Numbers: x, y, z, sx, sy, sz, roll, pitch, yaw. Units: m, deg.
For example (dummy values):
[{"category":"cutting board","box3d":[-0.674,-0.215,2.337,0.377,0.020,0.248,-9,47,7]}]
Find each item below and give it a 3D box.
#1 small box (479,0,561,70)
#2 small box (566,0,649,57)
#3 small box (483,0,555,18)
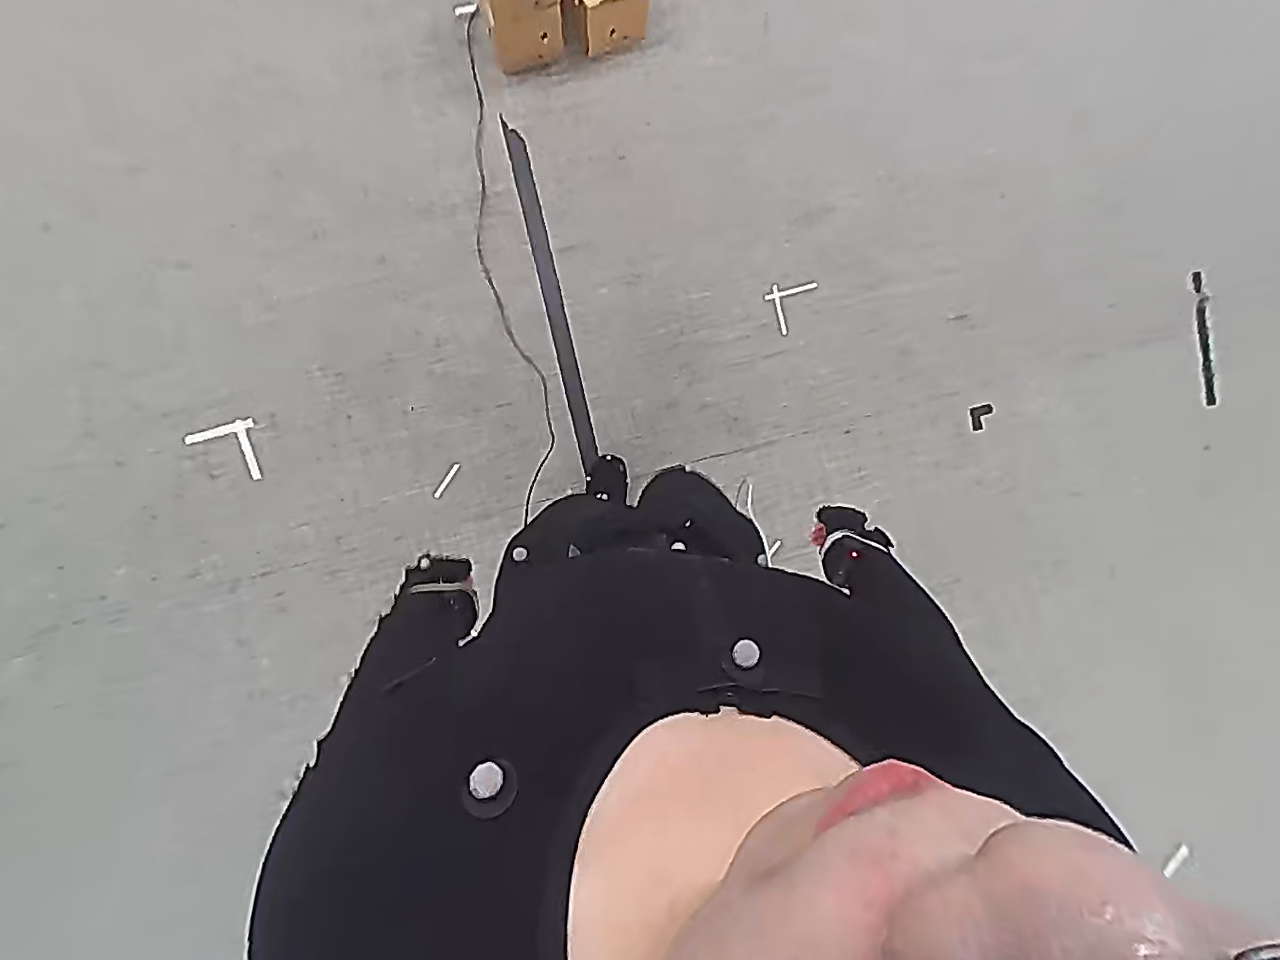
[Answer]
[{"category":"small box","box3d":[-0.296,-1.143,1.312,0.168,0.176,0.179,-19,95,-4]},{"category":"small box","box3d":[-0.087,-1.203,1.326,0.168,0.176,0.179,-23,96,-3]},{"category":"small box","box3d":[-0.282,-1.138,1.148,0.168,0.176,0.179,-23,96,-4]}]
